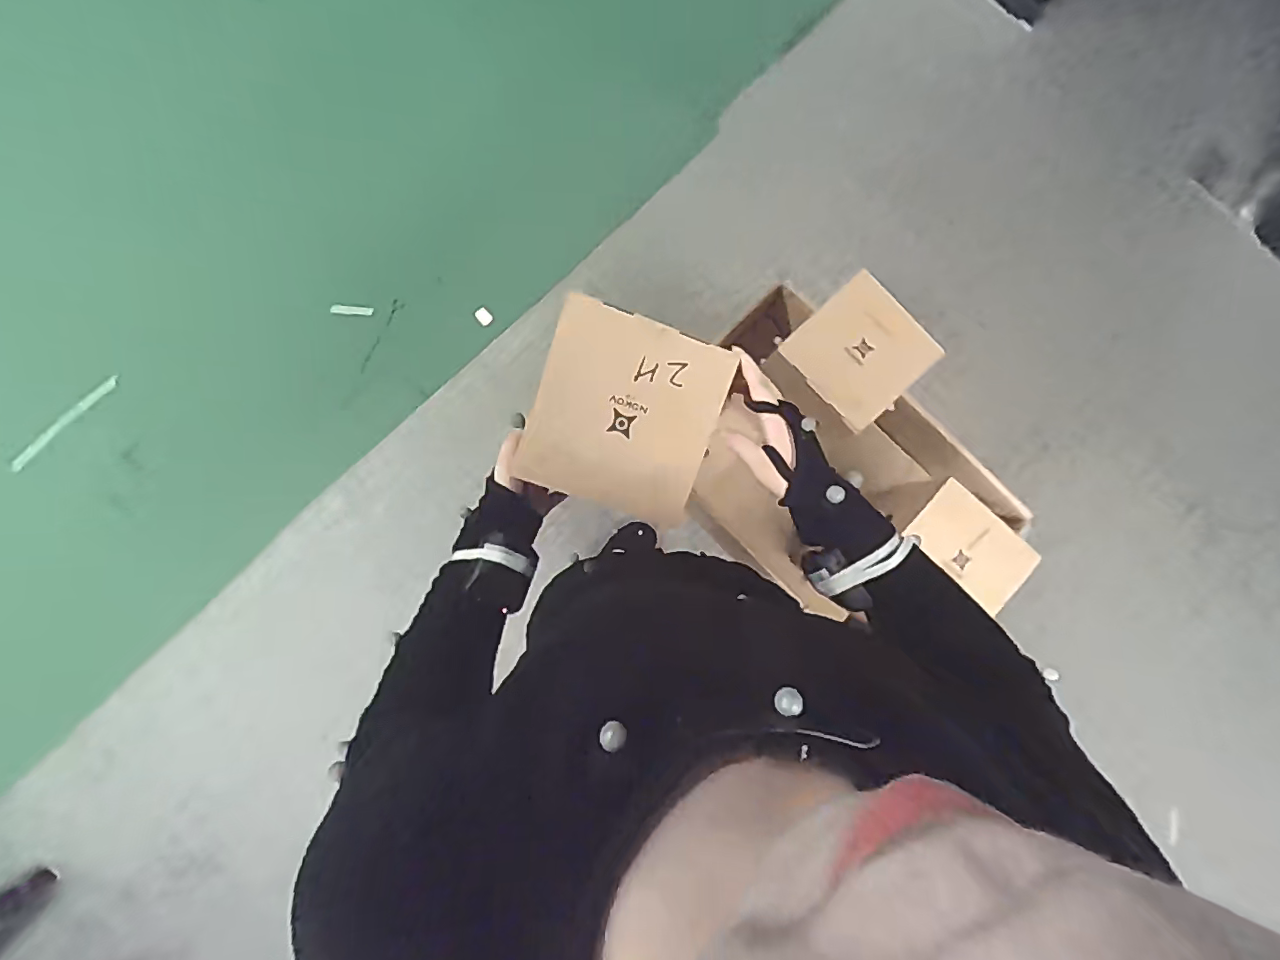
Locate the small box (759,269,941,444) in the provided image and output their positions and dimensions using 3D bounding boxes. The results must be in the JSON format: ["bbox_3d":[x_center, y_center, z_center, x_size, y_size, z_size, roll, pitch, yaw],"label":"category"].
[{"bbox_3d":[0.303,-0.175,0.828,0.179,0.176,0.168,-41,89,-5],"label":"small box"}]

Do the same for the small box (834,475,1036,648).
[{"bbox_3d":[0.417,0.116,0.806,0.168,0.176,0.179,43,85,2],"label":"small box"}]
